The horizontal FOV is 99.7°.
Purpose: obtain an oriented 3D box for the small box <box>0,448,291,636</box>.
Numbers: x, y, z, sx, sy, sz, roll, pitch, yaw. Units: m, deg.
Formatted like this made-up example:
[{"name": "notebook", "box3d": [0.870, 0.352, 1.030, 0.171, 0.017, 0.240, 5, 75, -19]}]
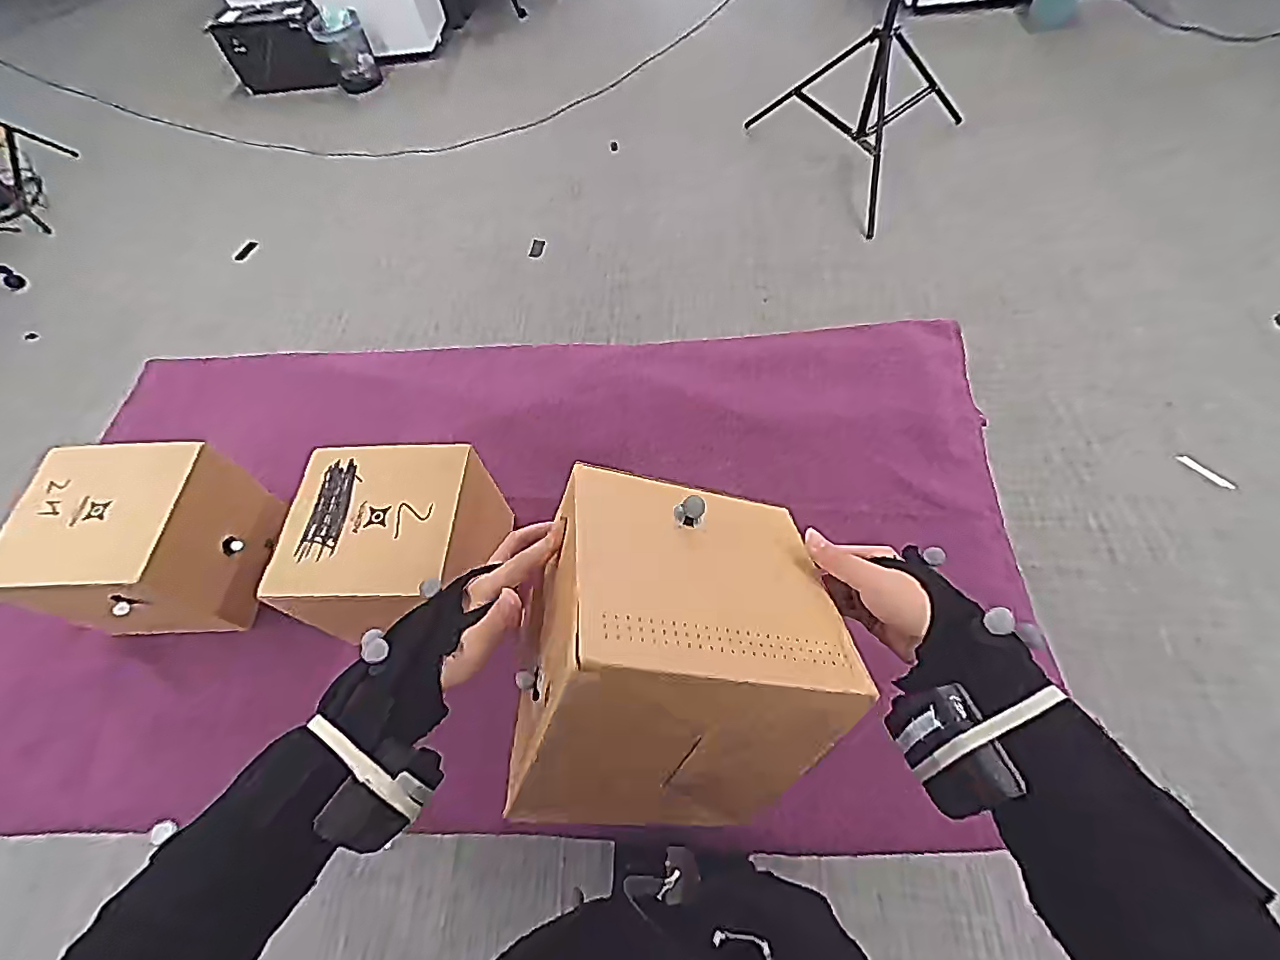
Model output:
[{"name": "small box", "box3d": [-0.555, 0.078, 0.630, 0.179, 0.176, 0.168, -2, 58, 2]}]
